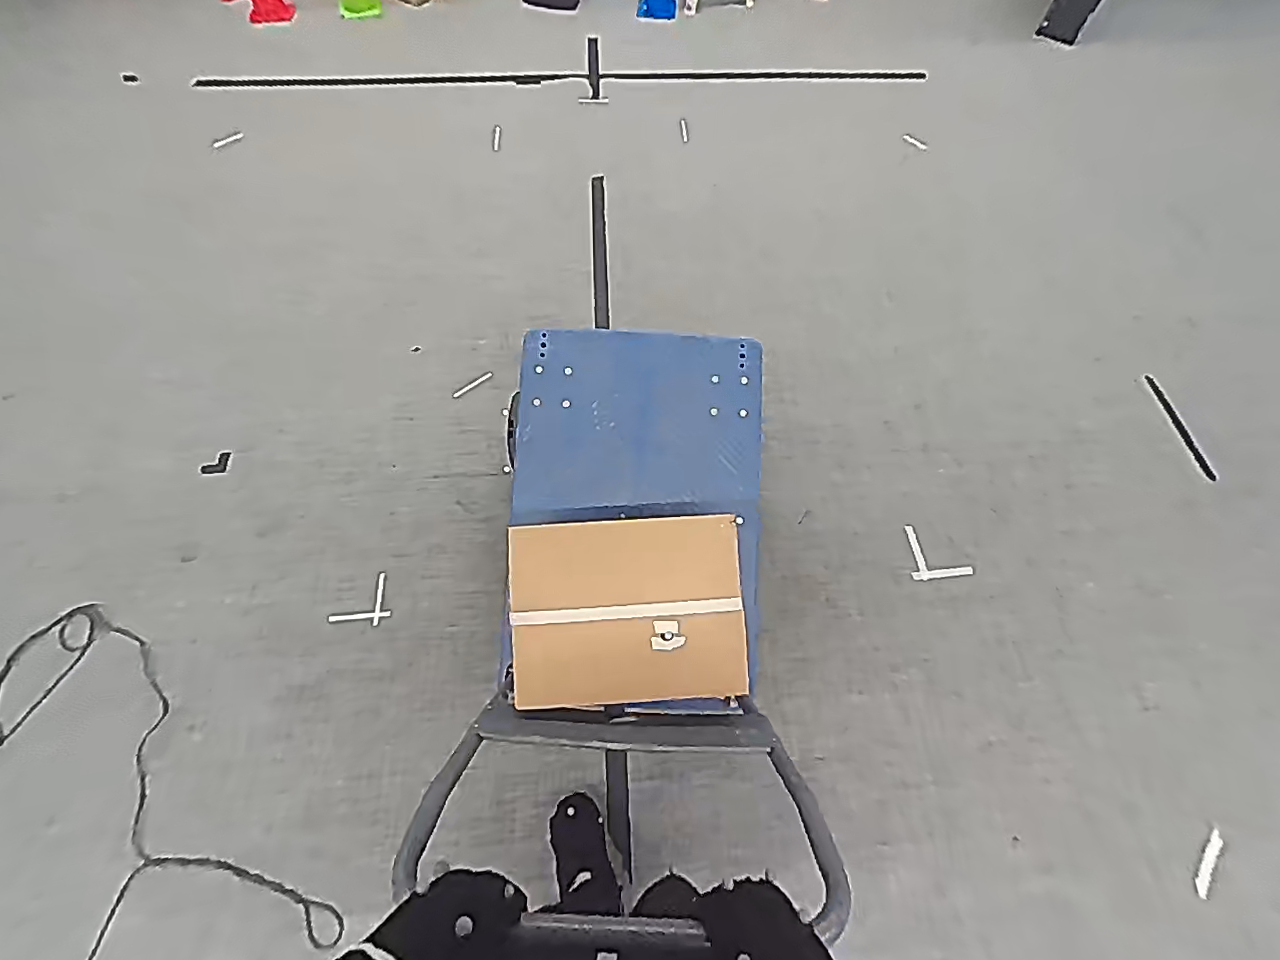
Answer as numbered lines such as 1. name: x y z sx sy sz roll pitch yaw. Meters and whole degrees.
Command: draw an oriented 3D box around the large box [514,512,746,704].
1. large box: -0.025 0.241 1.111 0.408 0.320 0.320 -3 85 -3
